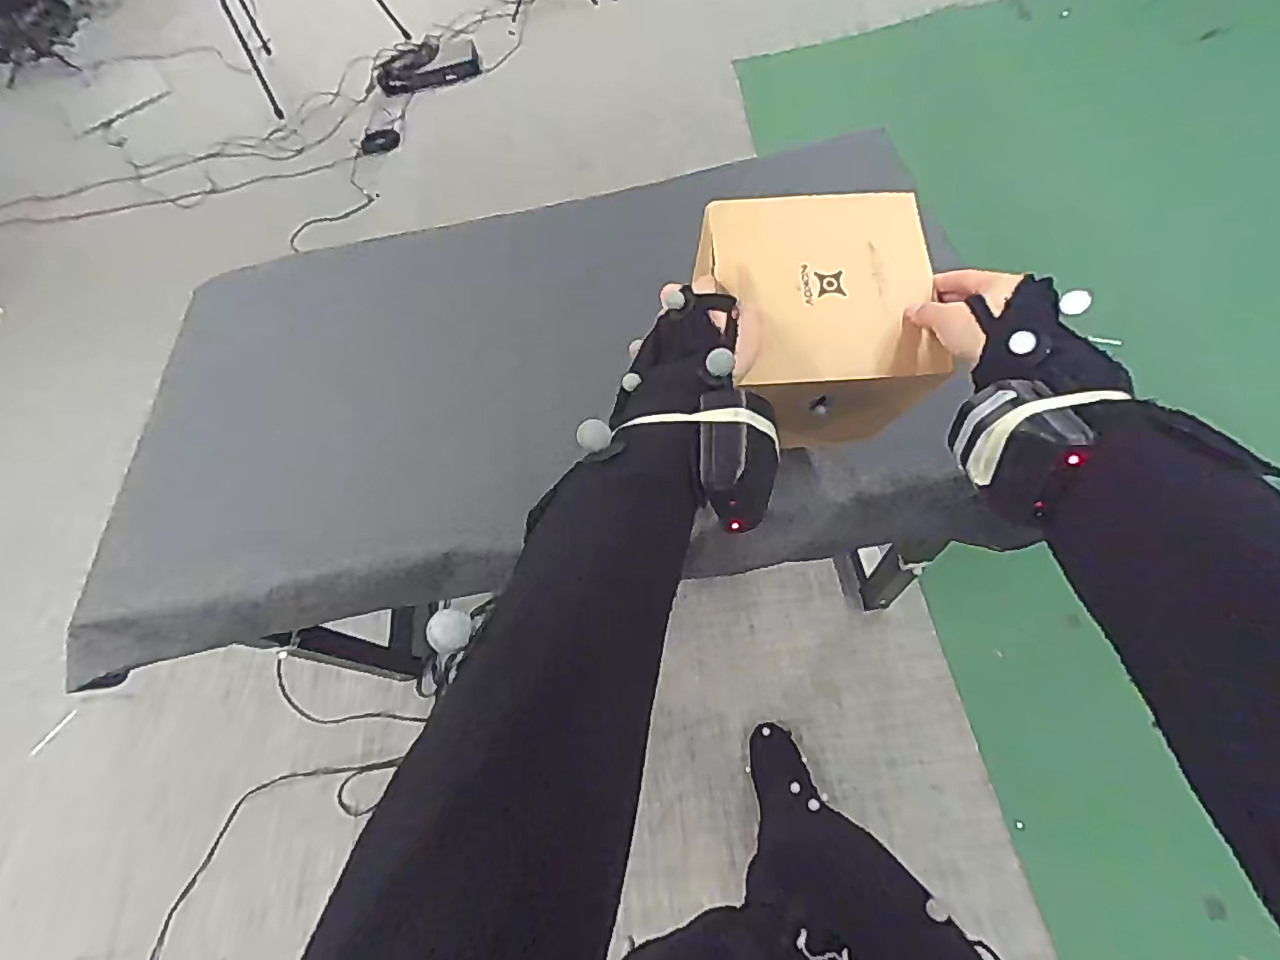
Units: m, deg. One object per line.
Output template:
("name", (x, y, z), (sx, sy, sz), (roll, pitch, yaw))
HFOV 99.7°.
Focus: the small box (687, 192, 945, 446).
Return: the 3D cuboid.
("small box", (0.138, -0.134, 0.500), (0.179, 0.176, 0.168), (-3, 77, -2))
